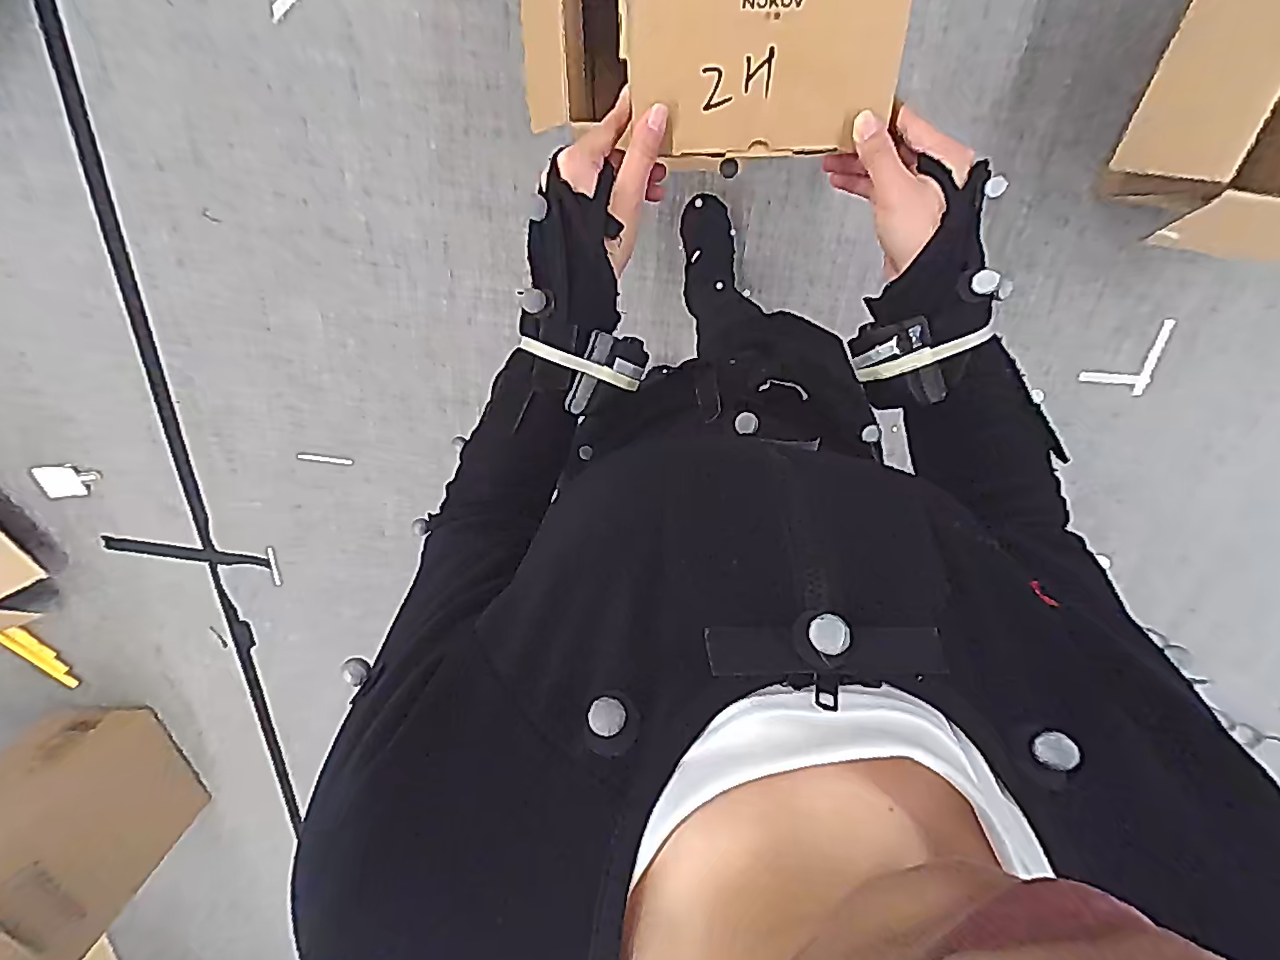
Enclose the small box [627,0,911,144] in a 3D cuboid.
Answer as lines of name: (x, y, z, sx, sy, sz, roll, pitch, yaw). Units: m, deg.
small box: (0.074, -0.338, 0.373, 0.168, 0.176, 0.179, -2, 122, 0)
